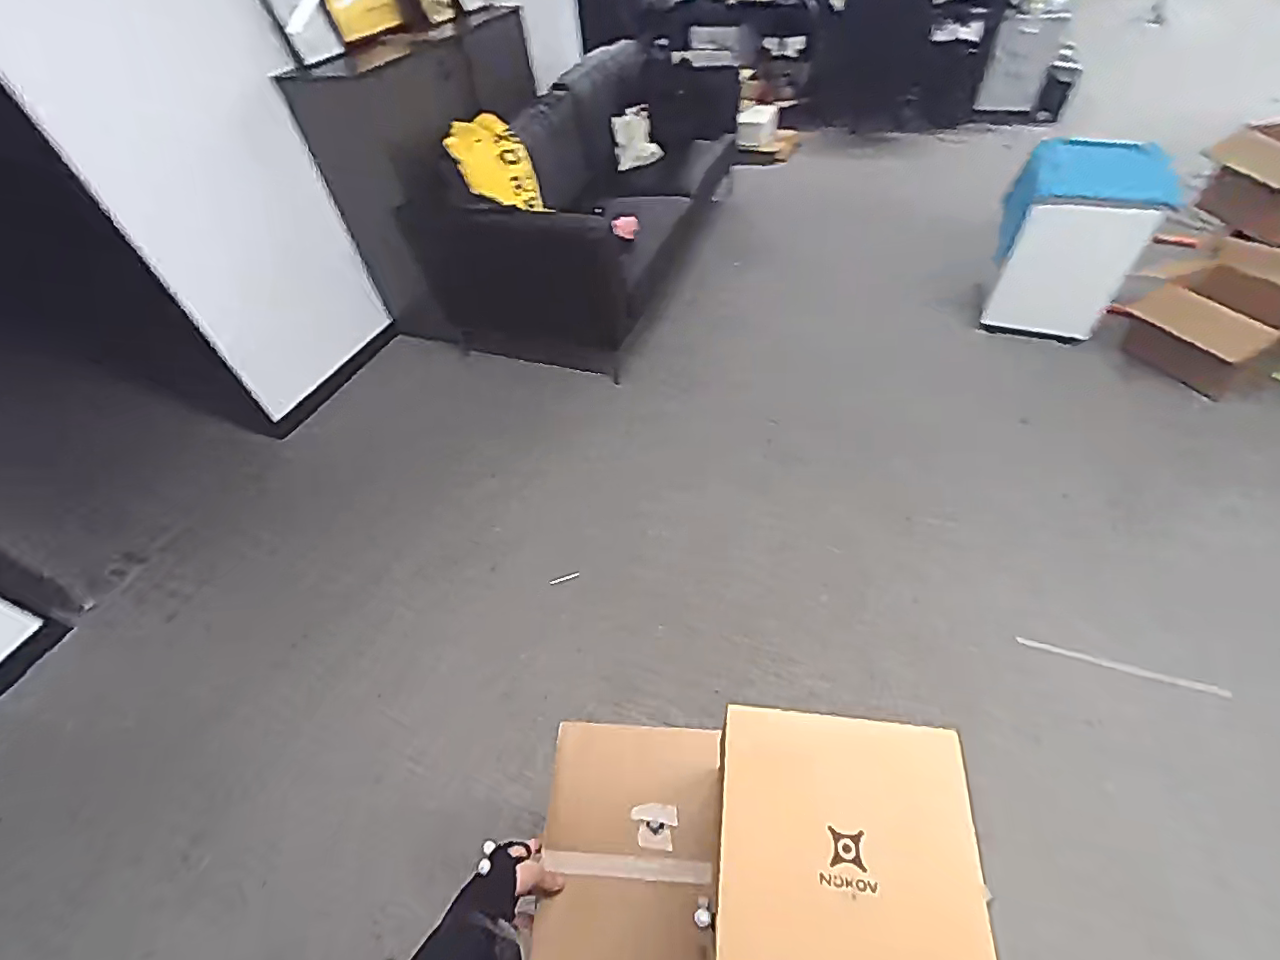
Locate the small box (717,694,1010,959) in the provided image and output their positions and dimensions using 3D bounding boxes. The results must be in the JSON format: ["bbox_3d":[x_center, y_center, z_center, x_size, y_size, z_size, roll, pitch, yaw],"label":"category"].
[{"bbox_3d":[0.149,0.284,0.416,0.168,0.176,0.179,4,57,10],"label":"small box"}]
